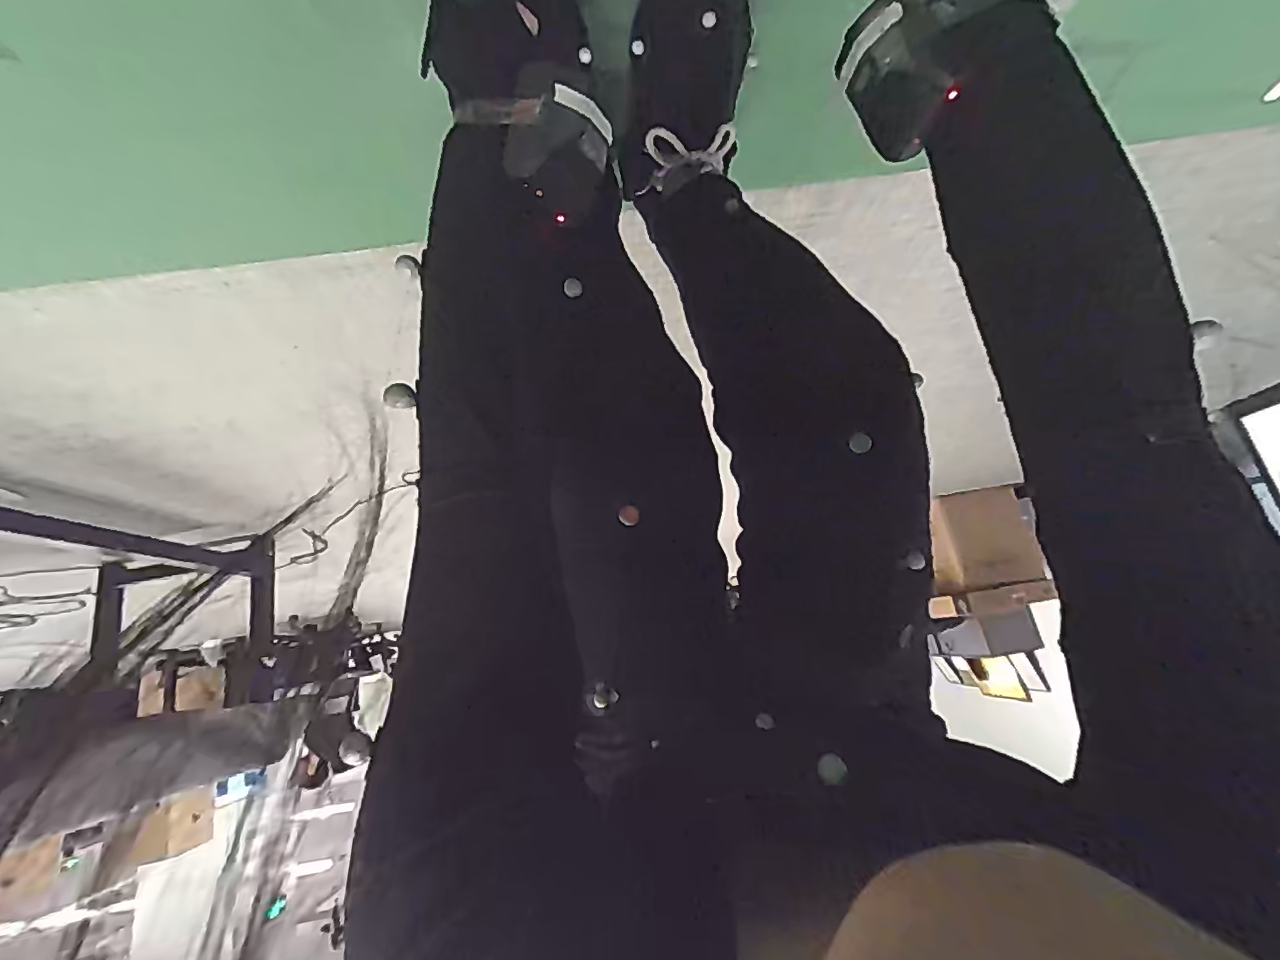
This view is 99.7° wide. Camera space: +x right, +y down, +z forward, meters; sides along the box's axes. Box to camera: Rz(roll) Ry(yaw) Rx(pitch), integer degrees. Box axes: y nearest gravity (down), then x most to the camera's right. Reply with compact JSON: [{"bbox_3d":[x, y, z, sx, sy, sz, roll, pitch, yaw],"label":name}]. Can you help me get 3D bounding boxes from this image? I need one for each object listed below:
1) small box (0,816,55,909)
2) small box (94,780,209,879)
[{"bbox_3d":[-1.586,0.943,1.303,0.168,0.176,0.179,-10,164,-3],"label":"small box"},{"bbox_3d":[-1.324,0.944,1.477,0.168,0.176,0.179,-8,164,-6],"label":"small box"}]
